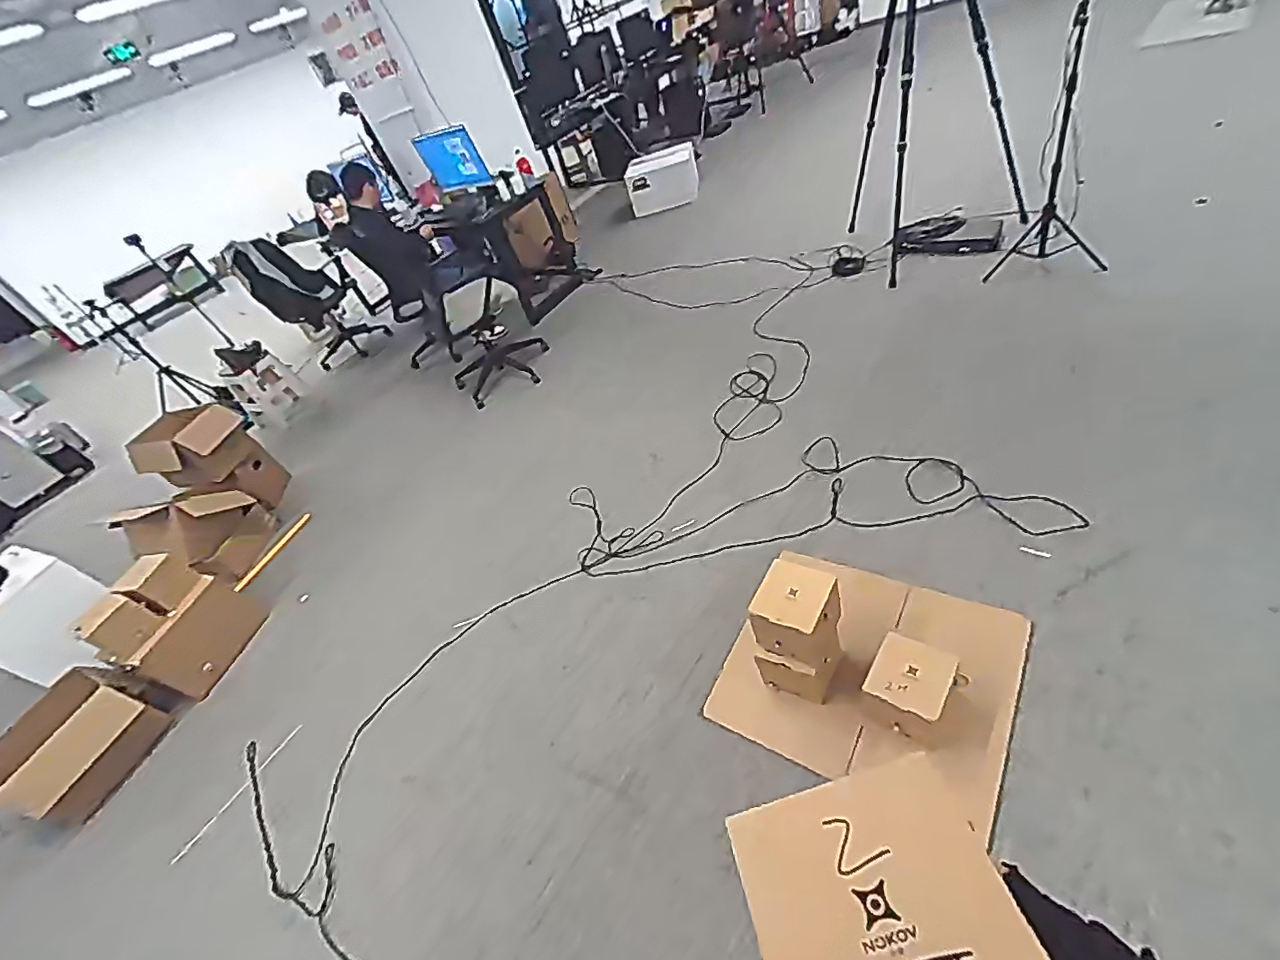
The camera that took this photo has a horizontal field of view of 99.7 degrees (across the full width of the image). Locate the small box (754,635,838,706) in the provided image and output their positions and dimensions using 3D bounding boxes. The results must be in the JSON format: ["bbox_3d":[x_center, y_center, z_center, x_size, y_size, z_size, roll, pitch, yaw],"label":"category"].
[{"bbox_3d":[0.432,0.481,1.471,0.168,0.176,0.179,11,51,34],"label":"small box"}]

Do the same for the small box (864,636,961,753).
[{"bbox_3d":[0.663,0.522,1.319,0.168,0.176,0.179,16,55,39],"label":"small box"}]

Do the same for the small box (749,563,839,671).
[{"bbox_3d":[0.400,0.348,1.378,0.168,0.176,0.179,13,52,36],"label":"small box"}]
